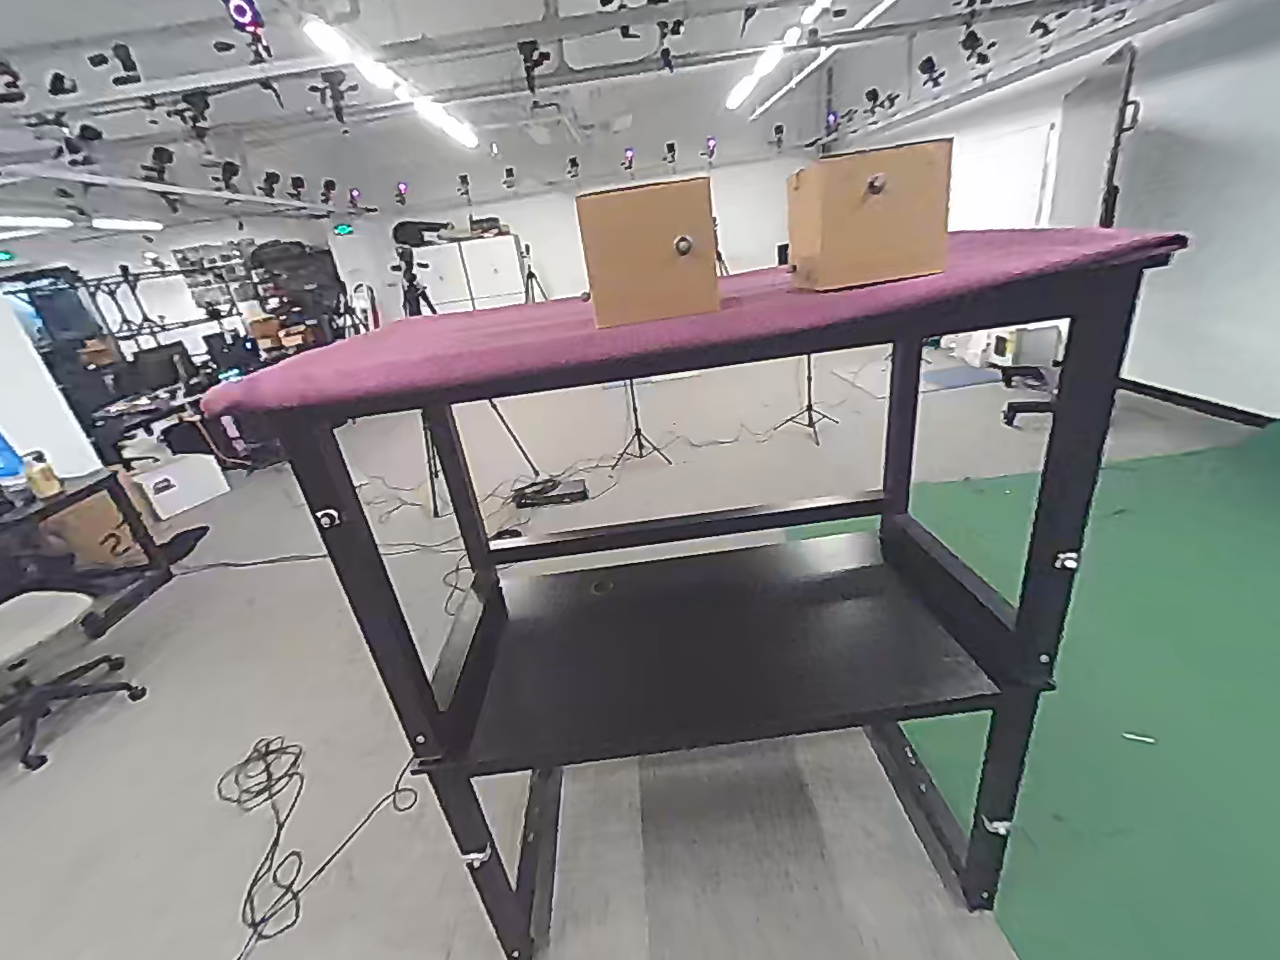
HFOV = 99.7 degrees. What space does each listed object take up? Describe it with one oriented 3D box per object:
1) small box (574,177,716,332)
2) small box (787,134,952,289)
[{"bbox_3d":[0.009,-0.320,0.775,0.179,0.176,0.168,-10,24,0],"label":"small box"},{"bbox_3d":[0.327,-0.380,0.793,0.179,0.176,0.168,-8,22,2],"label":"small box"}]
